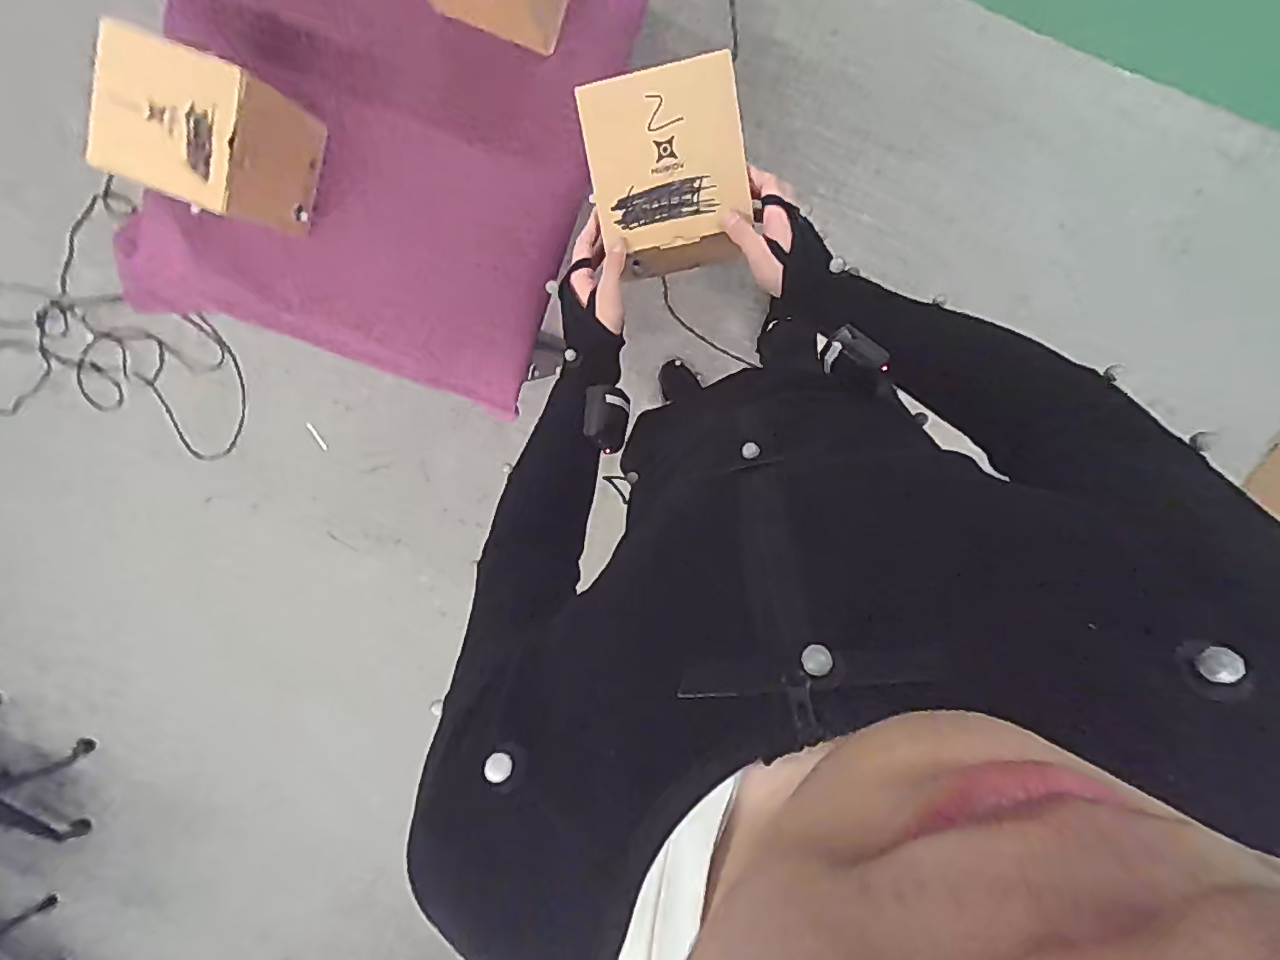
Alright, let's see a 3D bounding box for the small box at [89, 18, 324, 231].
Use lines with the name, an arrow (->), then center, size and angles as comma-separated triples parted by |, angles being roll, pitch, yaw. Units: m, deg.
small box -> -0.567, -0.455, 0.728 | 0.179, 0.176, 0.168 | 20, 103, -2
